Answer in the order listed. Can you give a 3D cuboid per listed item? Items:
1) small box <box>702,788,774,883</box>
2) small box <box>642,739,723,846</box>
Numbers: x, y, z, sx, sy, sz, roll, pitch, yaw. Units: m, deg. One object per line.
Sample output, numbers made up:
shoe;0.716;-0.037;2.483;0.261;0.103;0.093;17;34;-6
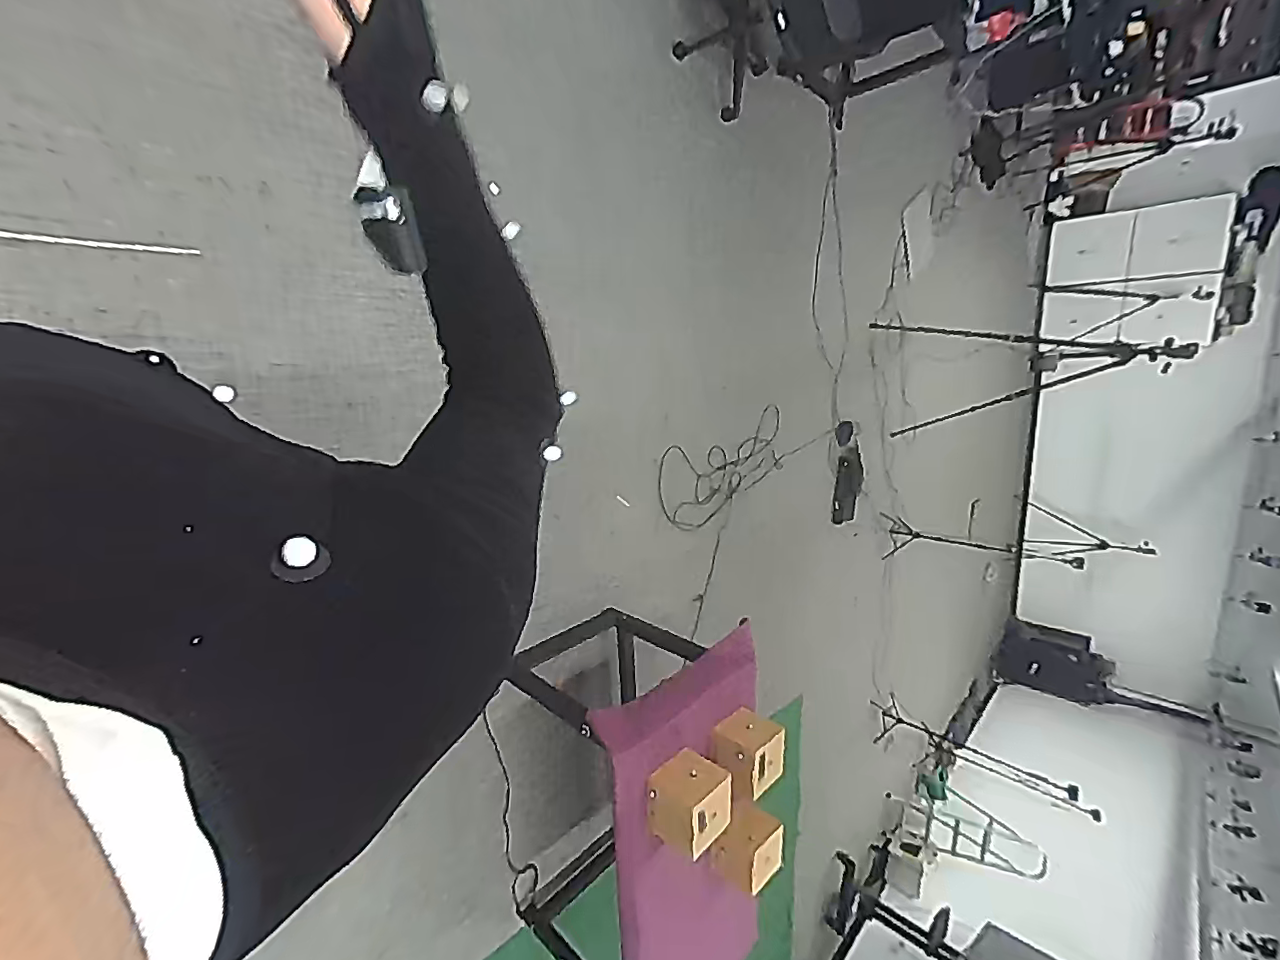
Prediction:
small box;0.331;1.194;1.835;0.179;0.176;0.168;-9;105;-44
small box;0.120;0.884;1.548;0.179;0.176;0.168;-13;107;-46
